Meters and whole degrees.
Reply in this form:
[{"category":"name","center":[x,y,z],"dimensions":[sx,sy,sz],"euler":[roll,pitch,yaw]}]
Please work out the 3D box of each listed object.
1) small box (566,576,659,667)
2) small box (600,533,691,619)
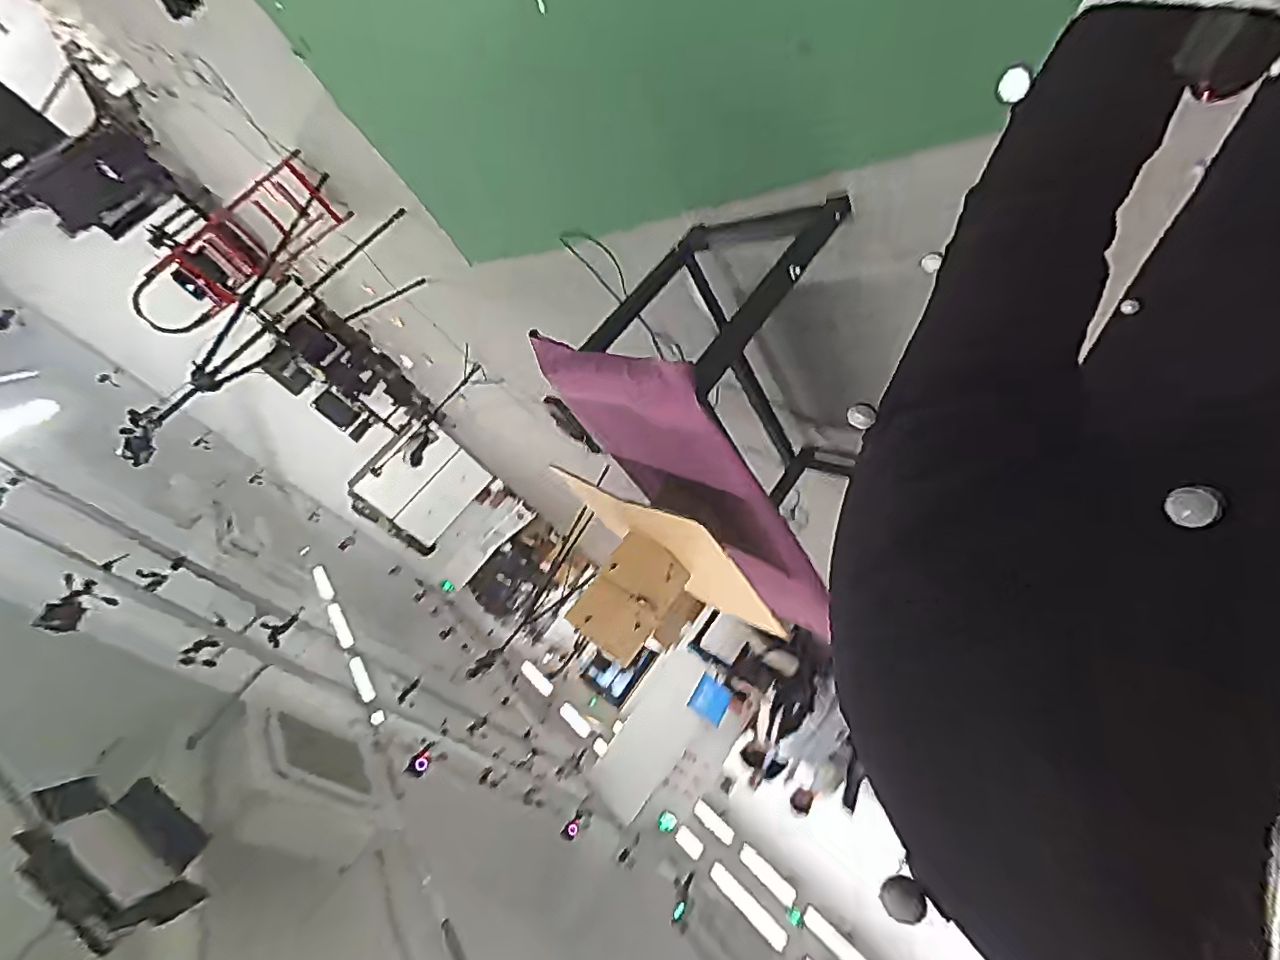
[{"category":"small box","center":[-0.077,0.407,1.592],"dimensions":[0.179,0.176,0.168],"euler":[21,157,50]},{"category":"small box","center":[0.020,0.283,1.637],"dimensions":[0.179,0.176,0.168],"euler":[23,159,48]}]
